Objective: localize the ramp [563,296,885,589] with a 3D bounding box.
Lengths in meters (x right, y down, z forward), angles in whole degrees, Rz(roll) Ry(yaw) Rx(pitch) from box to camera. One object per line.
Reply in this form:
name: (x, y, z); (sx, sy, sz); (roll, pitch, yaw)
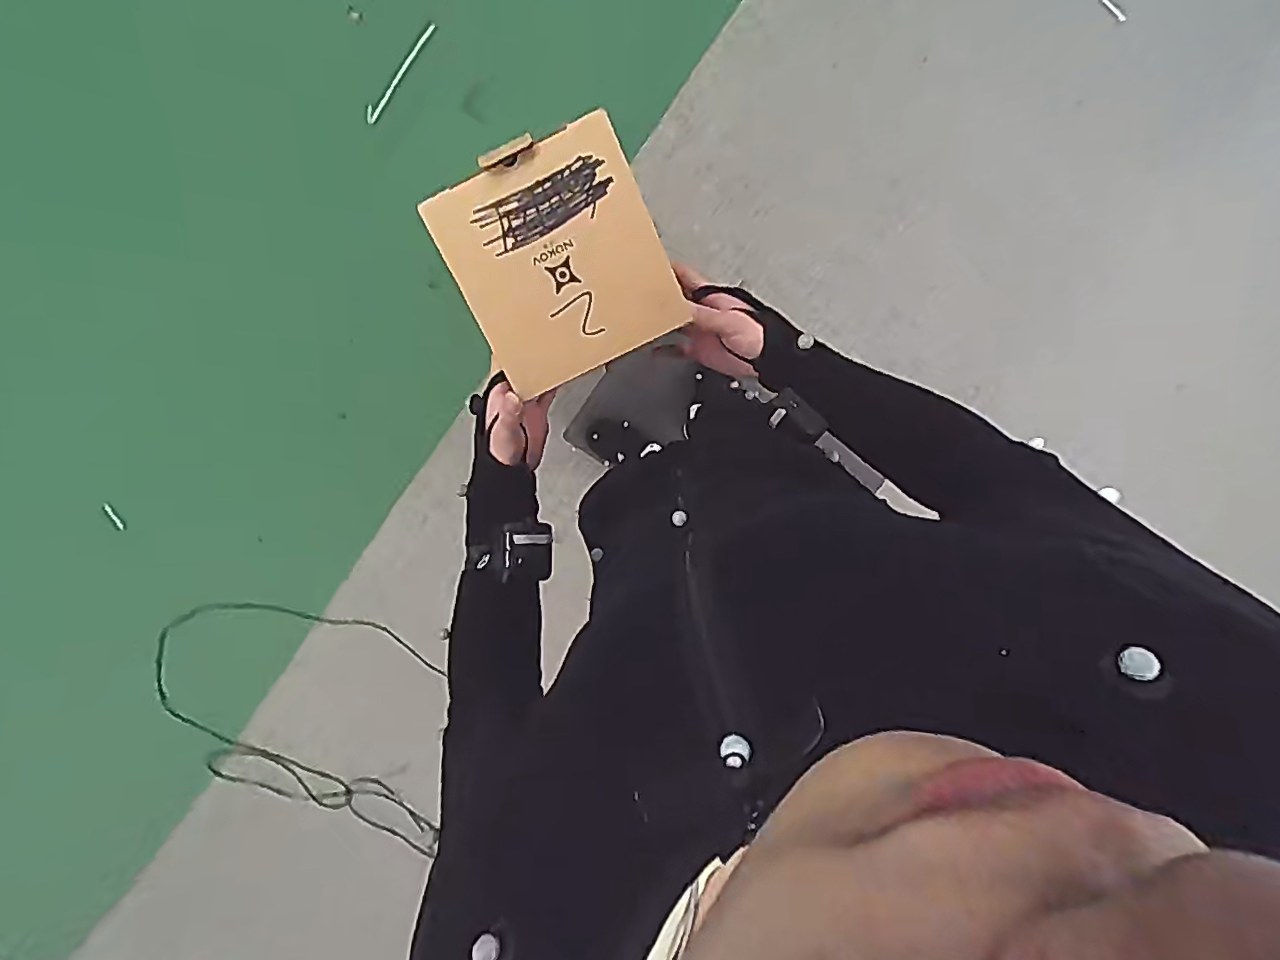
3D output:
ramp: (0.304, -0.068, 1.685); (0.991, 0.206, 0.509); (33, 96, -9)
